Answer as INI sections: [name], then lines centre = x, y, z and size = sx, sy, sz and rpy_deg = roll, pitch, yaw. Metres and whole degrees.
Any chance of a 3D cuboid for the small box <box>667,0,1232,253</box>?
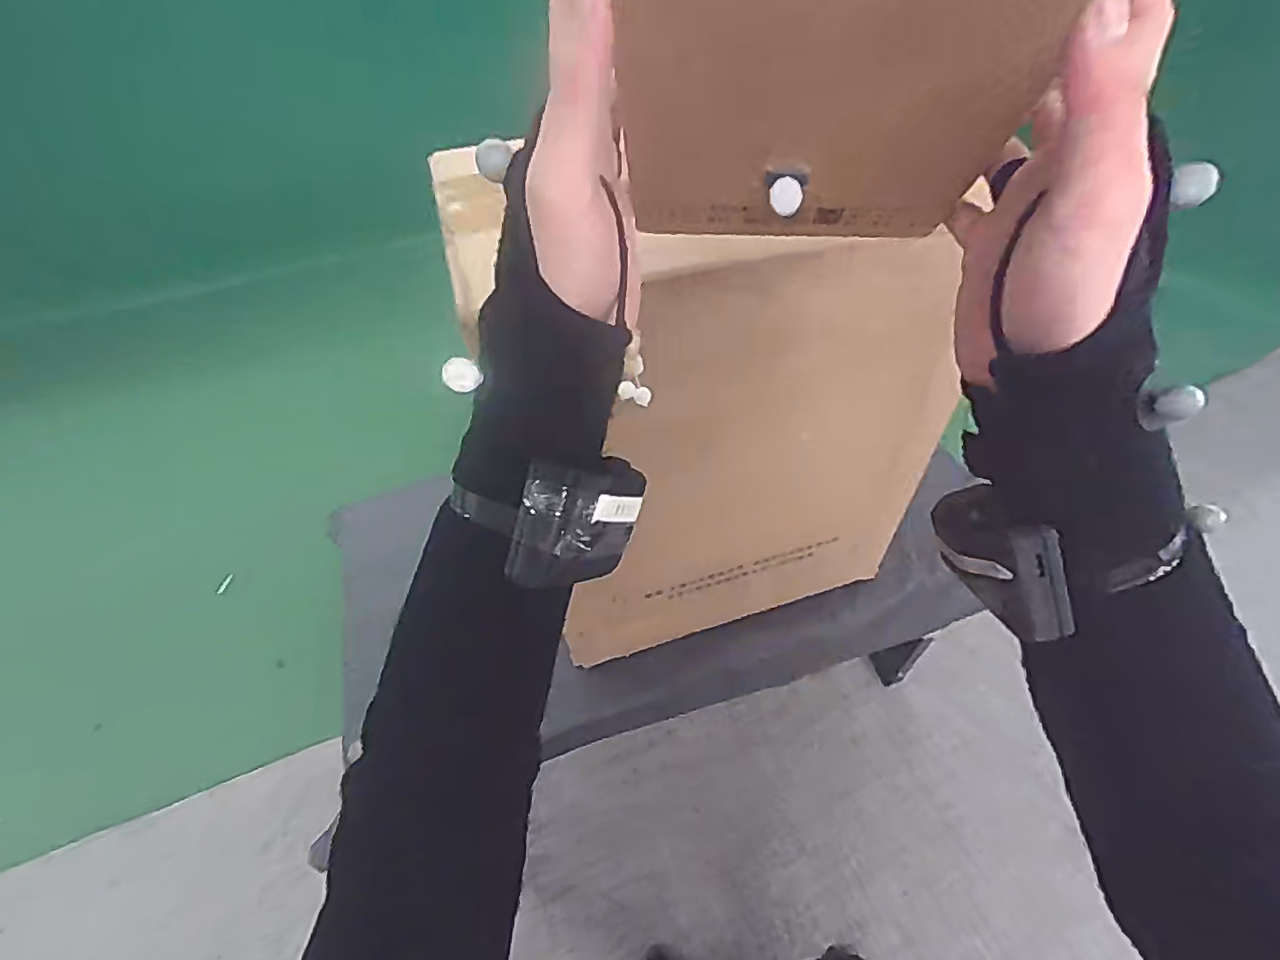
[small box]
centre = 0.101, -0.223, 0.220
size = 0.168, 0.176, 0.179
rpy_deg = 7, 85, 6
